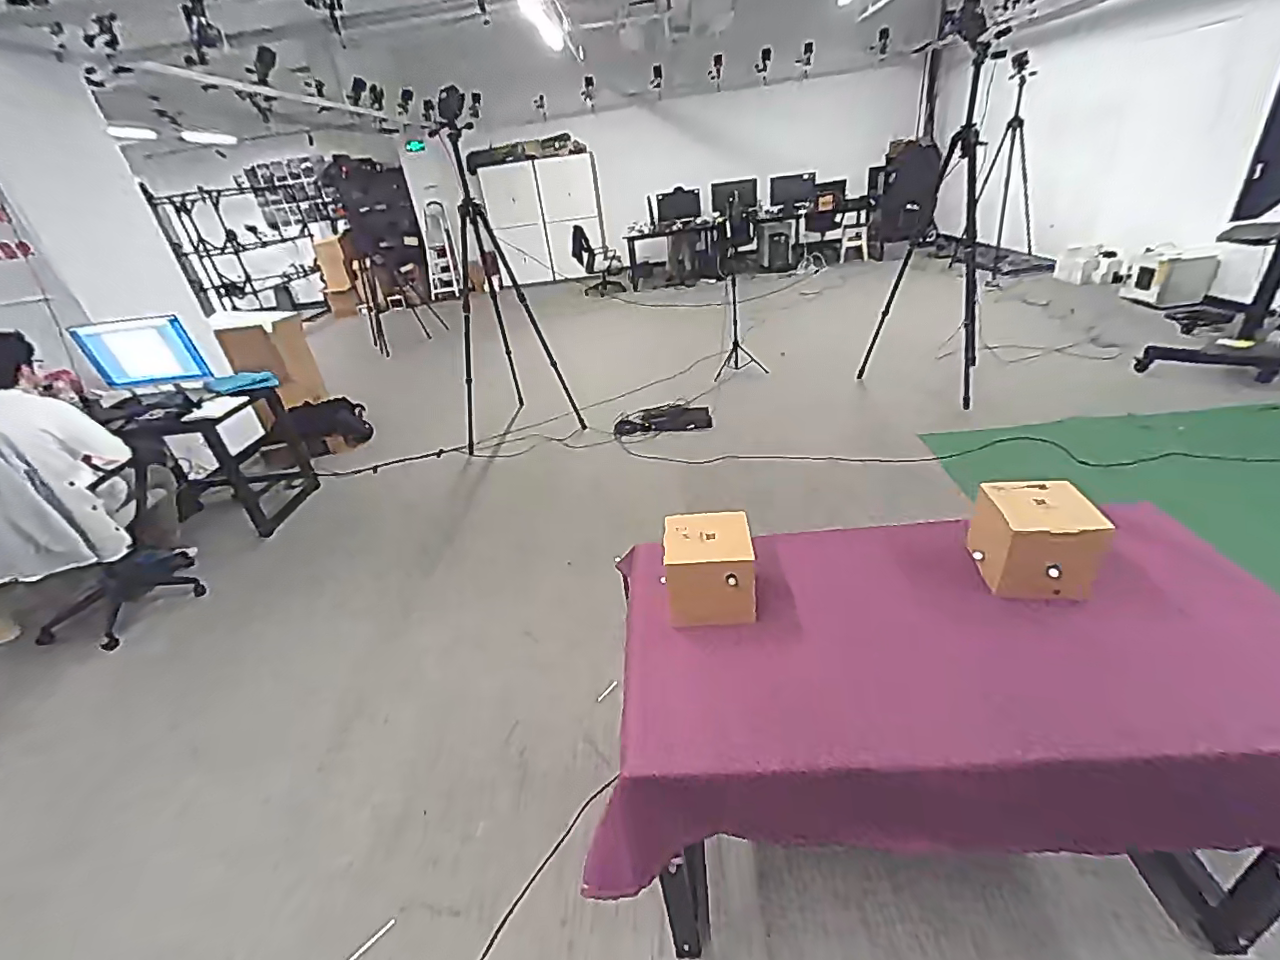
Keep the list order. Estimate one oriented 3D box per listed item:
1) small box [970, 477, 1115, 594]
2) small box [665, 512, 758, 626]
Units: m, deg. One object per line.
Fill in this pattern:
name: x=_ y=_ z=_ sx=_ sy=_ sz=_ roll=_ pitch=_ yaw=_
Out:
small box: x=0.787 y=0.111 z=1.080 sx=0.168 sy=0.176 sz=0.179 roll=-2 pitch=31 yaw=12
small box: x=0.149 y=0.187 z=1.129 sx=0.179 sy=0.176 sz=0.168 roll=-5 pitch=29 yaw=7
